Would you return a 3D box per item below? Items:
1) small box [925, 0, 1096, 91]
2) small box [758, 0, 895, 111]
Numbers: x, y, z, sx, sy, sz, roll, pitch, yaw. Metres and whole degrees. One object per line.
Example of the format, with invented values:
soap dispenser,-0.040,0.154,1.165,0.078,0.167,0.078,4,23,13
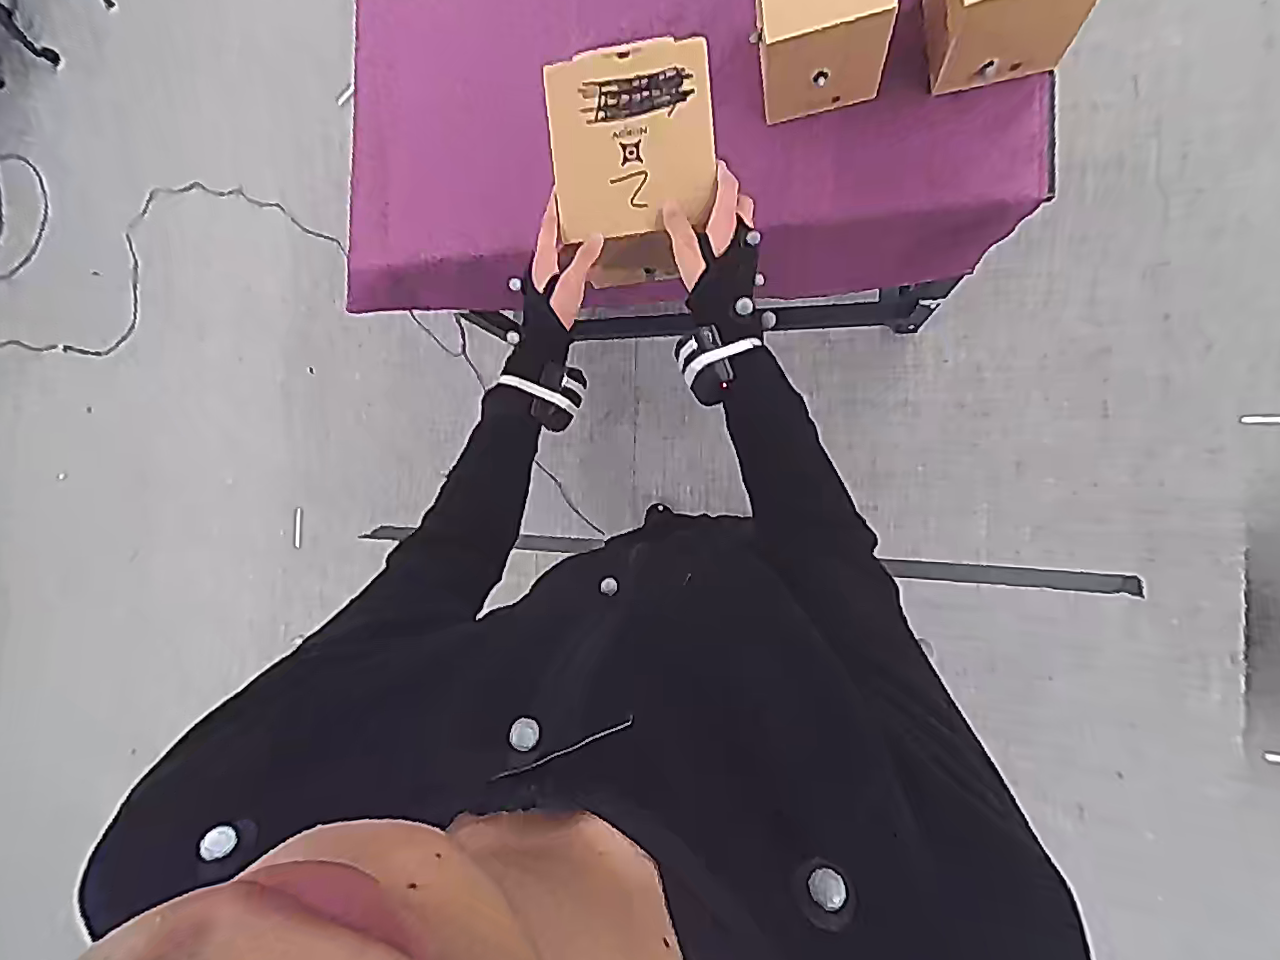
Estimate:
small box,0.490,-0.673,0.718,0.168,0.176,0.179,-3,88,16
small box,0.258,-0.672,0.777,0.168,0.176,0.179,-5,87,14
